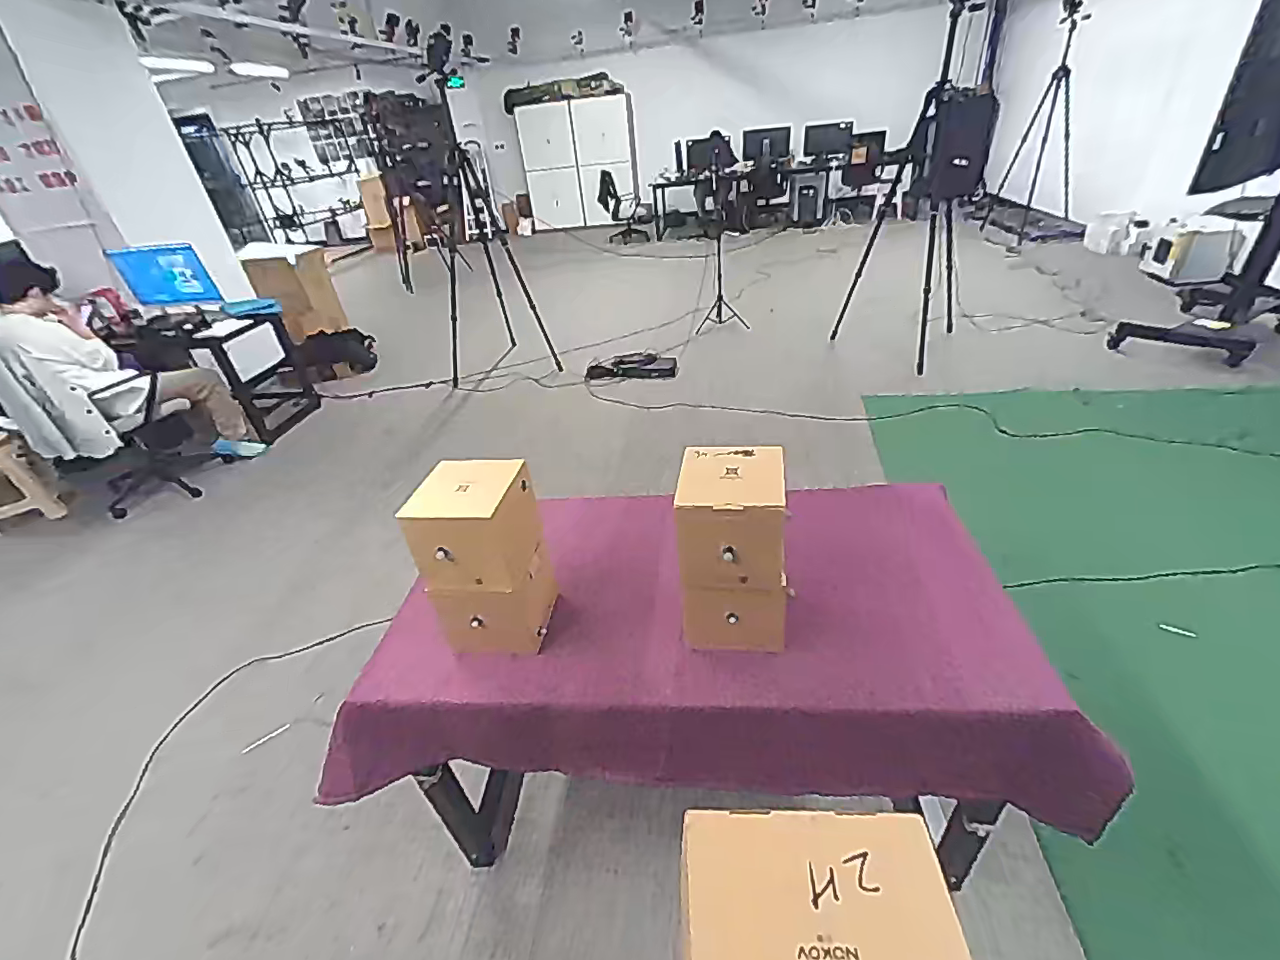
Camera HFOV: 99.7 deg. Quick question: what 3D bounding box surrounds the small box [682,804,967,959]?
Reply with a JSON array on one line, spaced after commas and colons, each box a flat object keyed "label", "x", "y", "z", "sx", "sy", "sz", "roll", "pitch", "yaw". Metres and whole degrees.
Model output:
[{"label": "small box", "x": 0.114, "y": 0.348, "z": 0.369, "sx": 0.168, "sy": 0.176, "sz": 0.179, "roll": 0, "pitch": 40, "yaw": 2}]

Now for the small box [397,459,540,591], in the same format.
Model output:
[{"label": "small box", "x": -0.288, "y": 0.080, "z": 0.958, "sx": 0.168, "sy": 0.176, "sz": 0.179, "roll": -1, "pitch": 33, "yaw": 9}]

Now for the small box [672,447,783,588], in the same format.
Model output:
[{"label": "small box", "x": 0.153, "y": 0.061, "z": 0.902, "sx": 0.168, "sy": 0.176, "sz": 0.179, "roll": 1, "pitch": 35, "yaw": 13}]

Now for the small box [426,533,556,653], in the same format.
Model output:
[{"label": "small box", "x": -0.274, "y": 0.216, "z": 1.046, "sx": 0.179, "sy": 0.176, "sz": 0.168, "roll": -2, "pitch": 34, "yaw": 9}]
